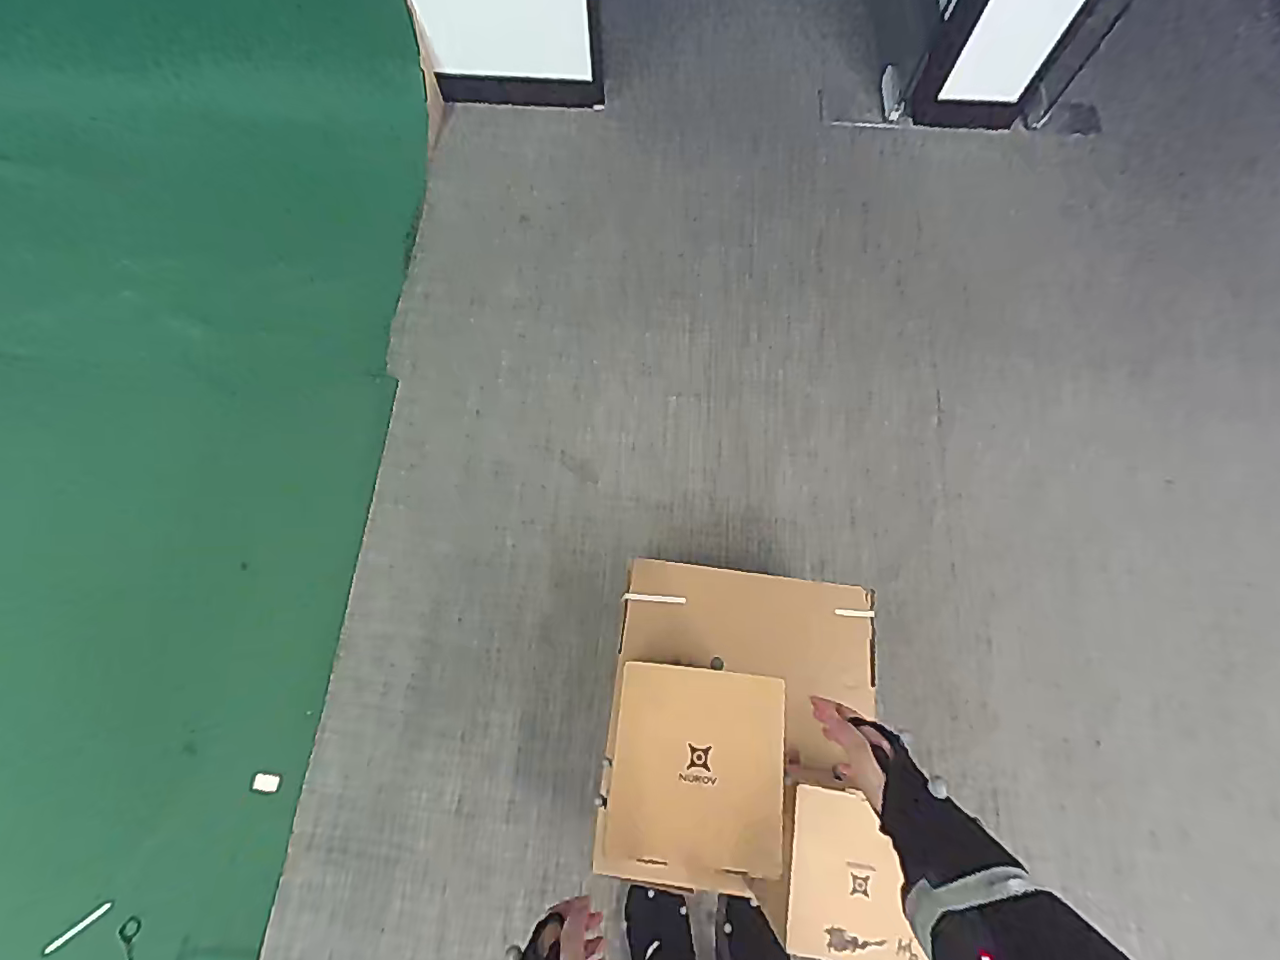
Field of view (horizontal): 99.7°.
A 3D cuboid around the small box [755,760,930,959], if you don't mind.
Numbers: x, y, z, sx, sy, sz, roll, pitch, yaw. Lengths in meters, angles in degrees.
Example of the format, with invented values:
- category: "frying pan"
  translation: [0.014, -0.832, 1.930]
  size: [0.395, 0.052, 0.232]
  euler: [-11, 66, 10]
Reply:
- category: "small box"
  translation: [0.252, 0.477, 0.703]
  size: [0.168, 0.176, 0.179]
  euler: [9, 70, 2]

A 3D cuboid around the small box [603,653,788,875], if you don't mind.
- category: "small box"
  translation: [0.055, 0.291, 0.596]
  size: [0.168, 0.176, 0.179]
  euler: [7, 74, 2]
